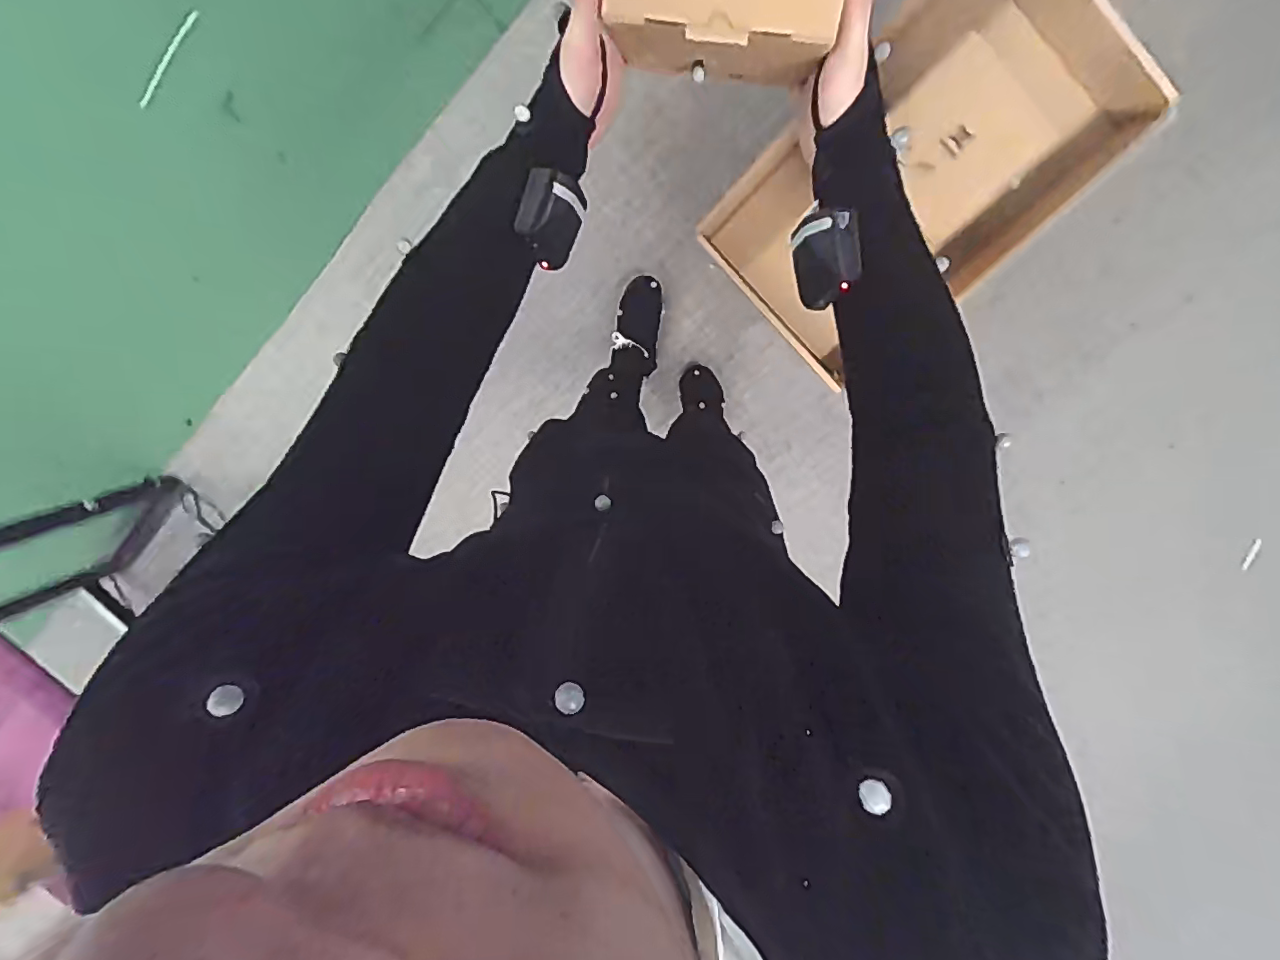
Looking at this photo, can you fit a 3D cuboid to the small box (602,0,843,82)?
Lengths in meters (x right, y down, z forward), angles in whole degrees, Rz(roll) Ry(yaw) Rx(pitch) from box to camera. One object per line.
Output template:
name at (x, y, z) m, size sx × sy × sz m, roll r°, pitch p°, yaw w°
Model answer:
small box at (0.066, -0.423, 0.403) m, size 0.168 × 0.176 × 0.179 m, roll 6°, pitch 120°, yaw 1°

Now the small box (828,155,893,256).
small box at (0.435, -0.499, 0.900) m, size 0.179 × 0.176 × 0.168 m, roll -41°, pitch 98°, yaw 16°

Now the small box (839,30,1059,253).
small box at (0.406, -0.444, 0.747) m, size 0.179 × 0.176 × 0.168 m, roll -42°, pitch 97°, yaw 17°
